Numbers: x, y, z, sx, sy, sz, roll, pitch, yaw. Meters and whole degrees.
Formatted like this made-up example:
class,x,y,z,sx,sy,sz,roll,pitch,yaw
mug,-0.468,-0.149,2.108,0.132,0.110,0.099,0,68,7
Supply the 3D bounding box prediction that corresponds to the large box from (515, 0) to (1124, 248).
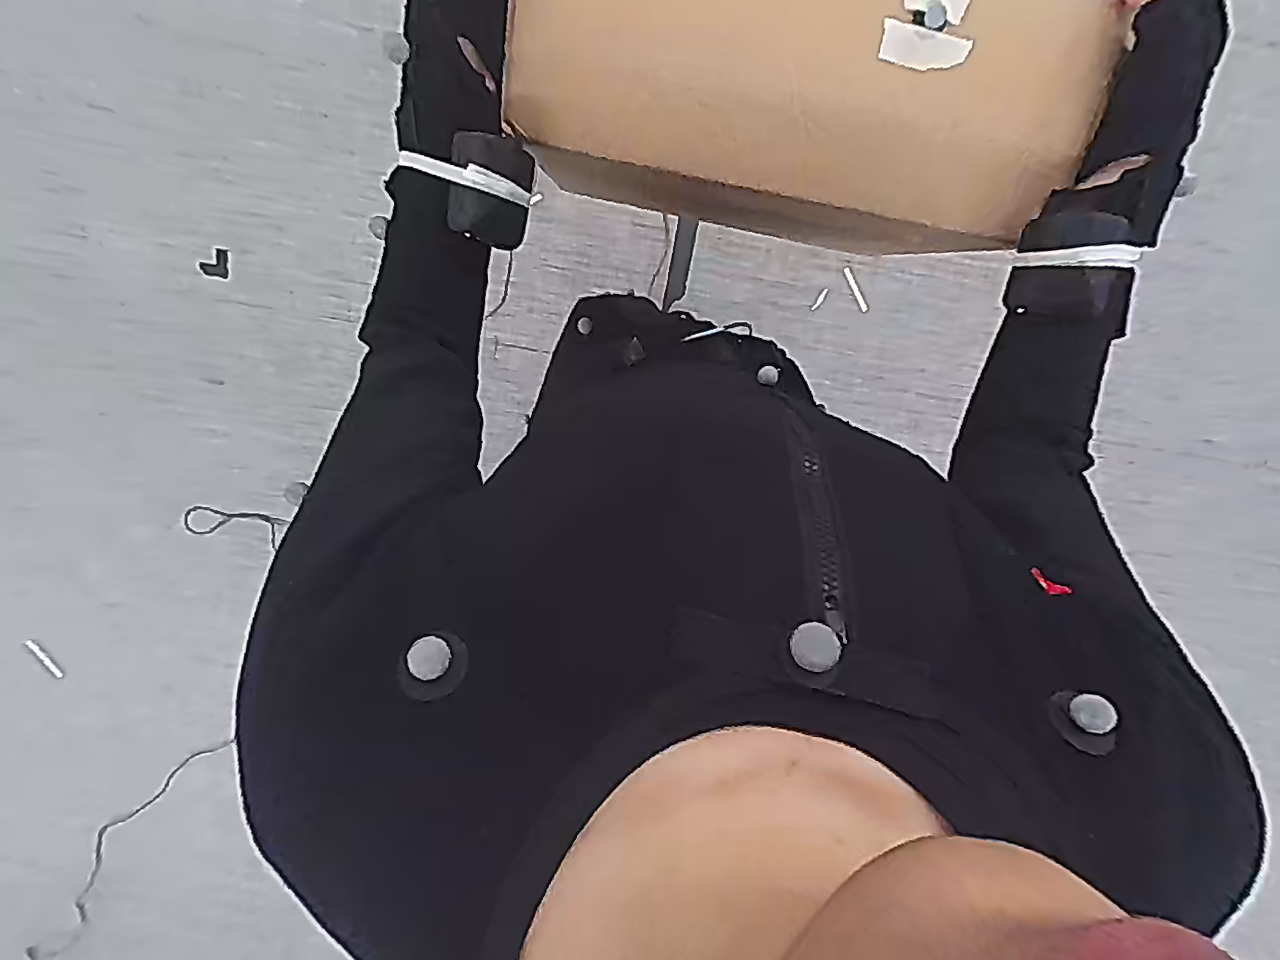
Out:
class,x,y,z,sx,sy,sz,roll,pitch,yaw
large box,0.124,-0.408,0.481,0.408,0.320,0.320,9,112,-5
